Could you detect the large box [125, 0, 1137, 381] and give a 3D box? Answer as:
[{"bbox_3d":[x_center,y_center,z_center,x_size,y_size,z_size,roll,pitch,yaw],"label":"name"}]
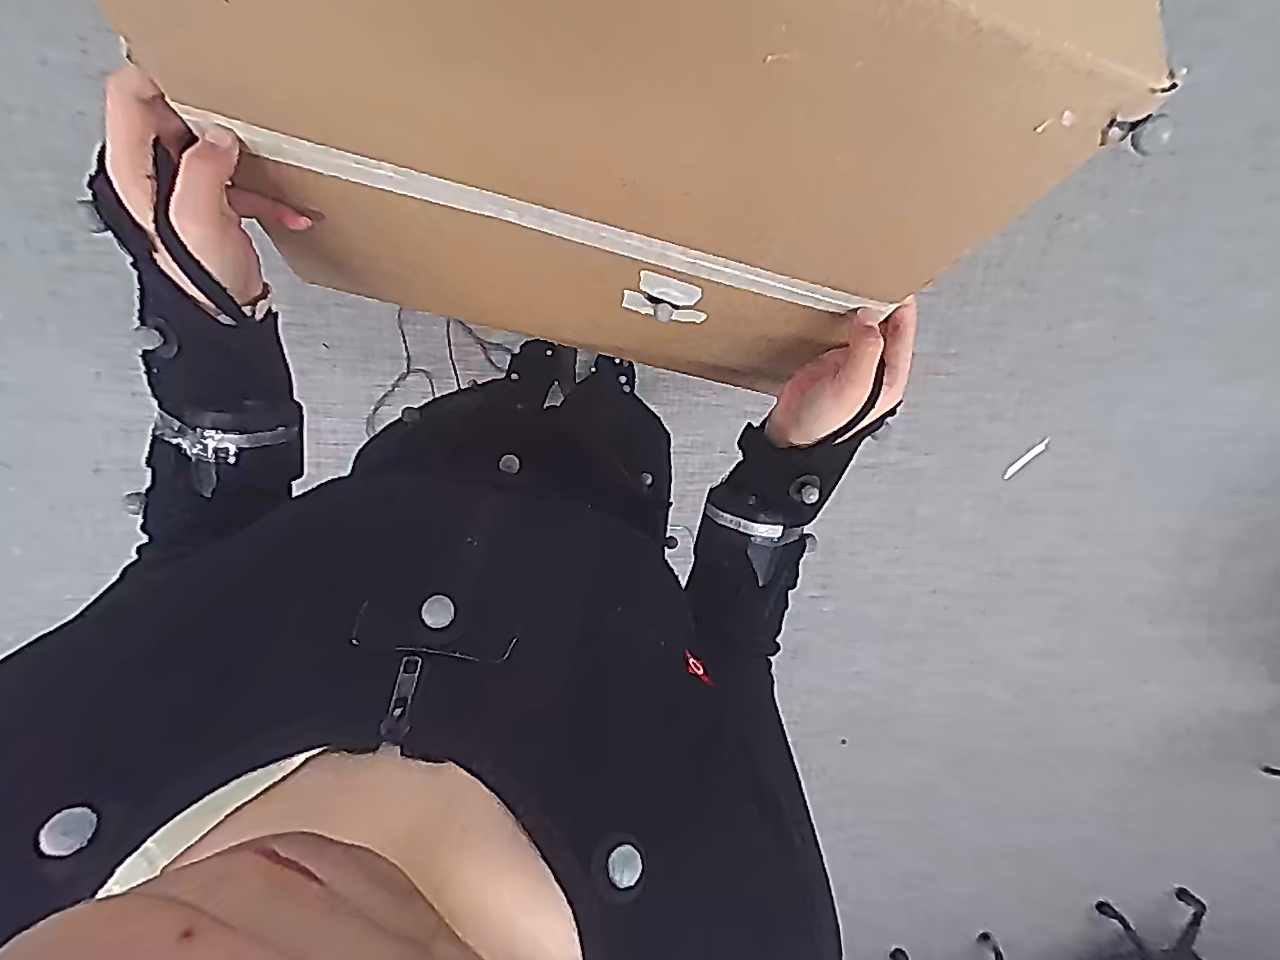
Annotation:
[{"bbox_3d":[-0.017,-0.299,0.349,0.408,0.320,0.320,10,77,-9],"label":"large box"}]
